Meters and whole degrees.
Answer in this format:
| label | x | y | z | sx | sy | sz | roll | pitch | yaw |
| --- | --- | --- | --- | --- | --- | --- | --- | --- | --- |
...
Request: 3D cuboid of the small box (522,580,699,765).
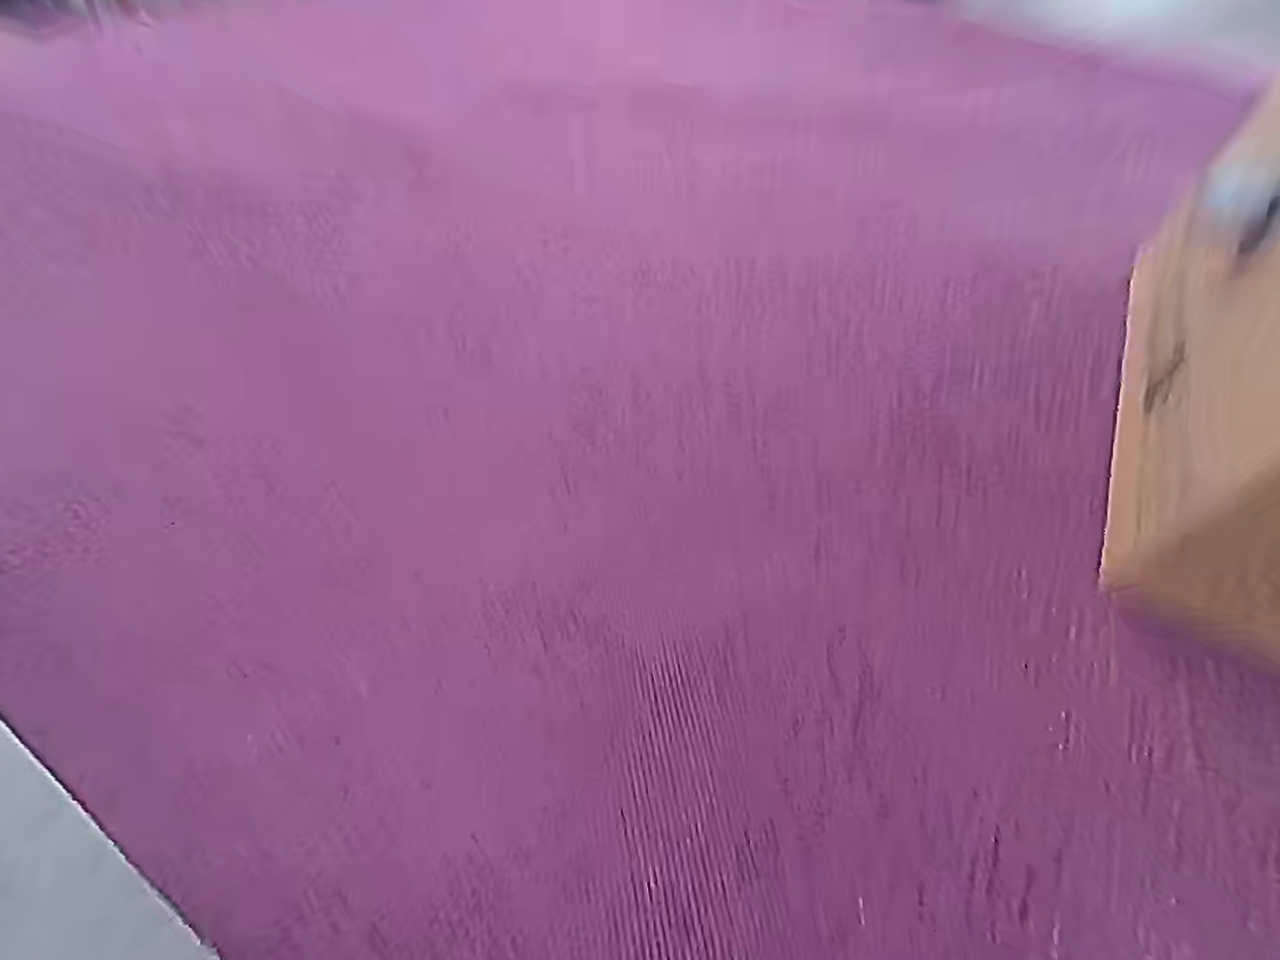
| label | x | y | z | sx | sy | sz | roll | pitch | yaw |
| --- | --- | --- | --- | --- | --- | --- | --- | --- | --- |
| small box | -0.034 | 0.270 | 0.745 | 0.179 | 0.176 | 0.168 | 19 | 56 | 14 |
